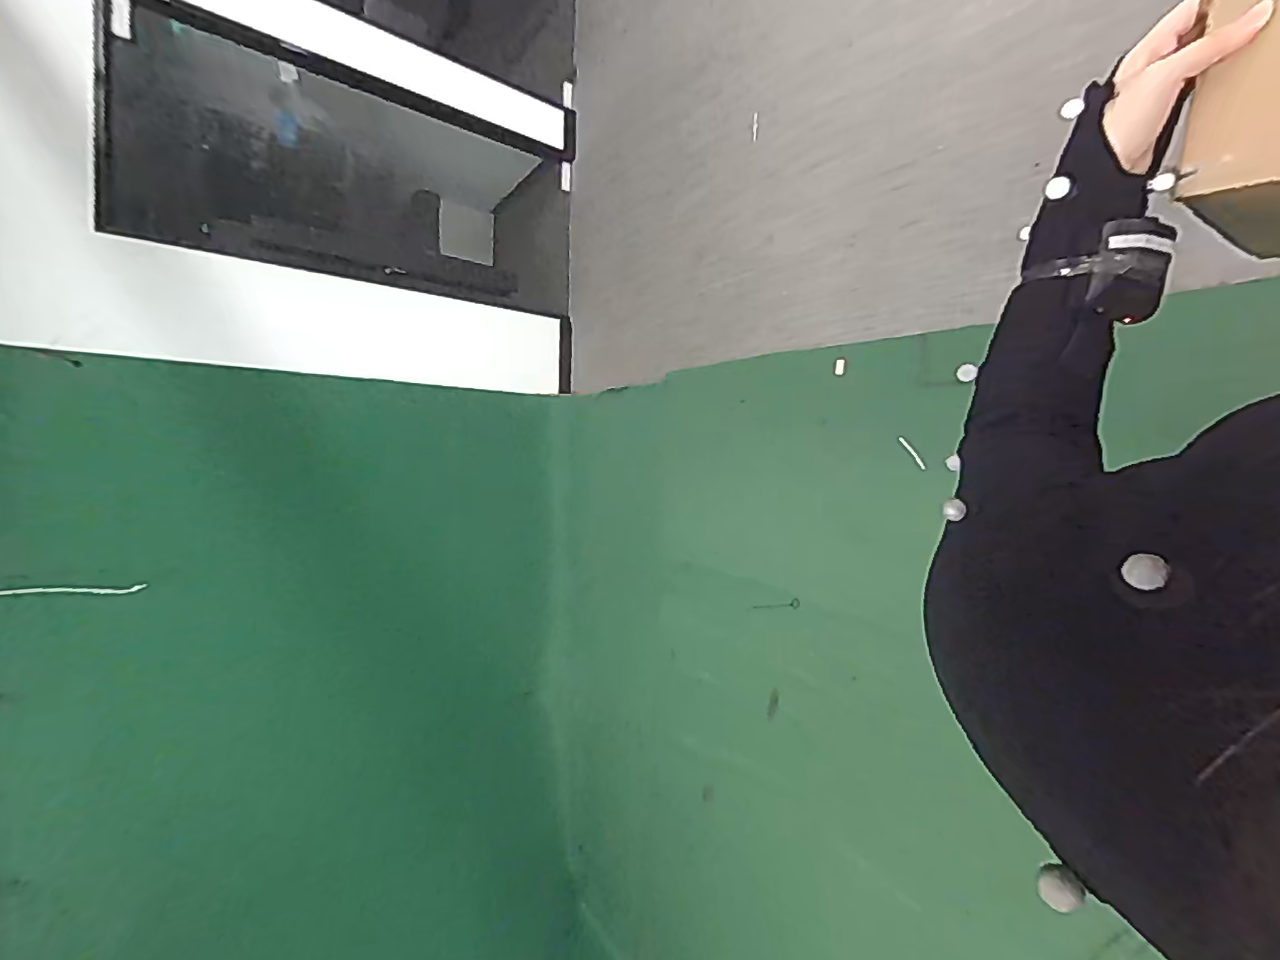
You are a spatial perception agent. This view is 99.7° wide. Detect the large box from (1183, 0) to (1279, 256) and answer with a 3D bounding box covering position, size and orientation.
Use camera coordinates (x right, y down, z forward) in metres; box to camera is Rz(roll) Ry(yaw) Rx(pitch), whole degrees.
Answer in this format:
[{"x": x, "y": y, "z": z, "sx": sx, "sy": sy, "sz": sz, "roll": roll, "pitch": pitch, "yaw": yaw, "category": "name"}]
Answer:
[{"x": 0.642, "y": -0.335, "z": 0.294, "sx": 0.408, "sy": 0.320, "sz": 0.320, "roll": 17, "pitch": 108, "yaw": 56, "category": "large box"}]
